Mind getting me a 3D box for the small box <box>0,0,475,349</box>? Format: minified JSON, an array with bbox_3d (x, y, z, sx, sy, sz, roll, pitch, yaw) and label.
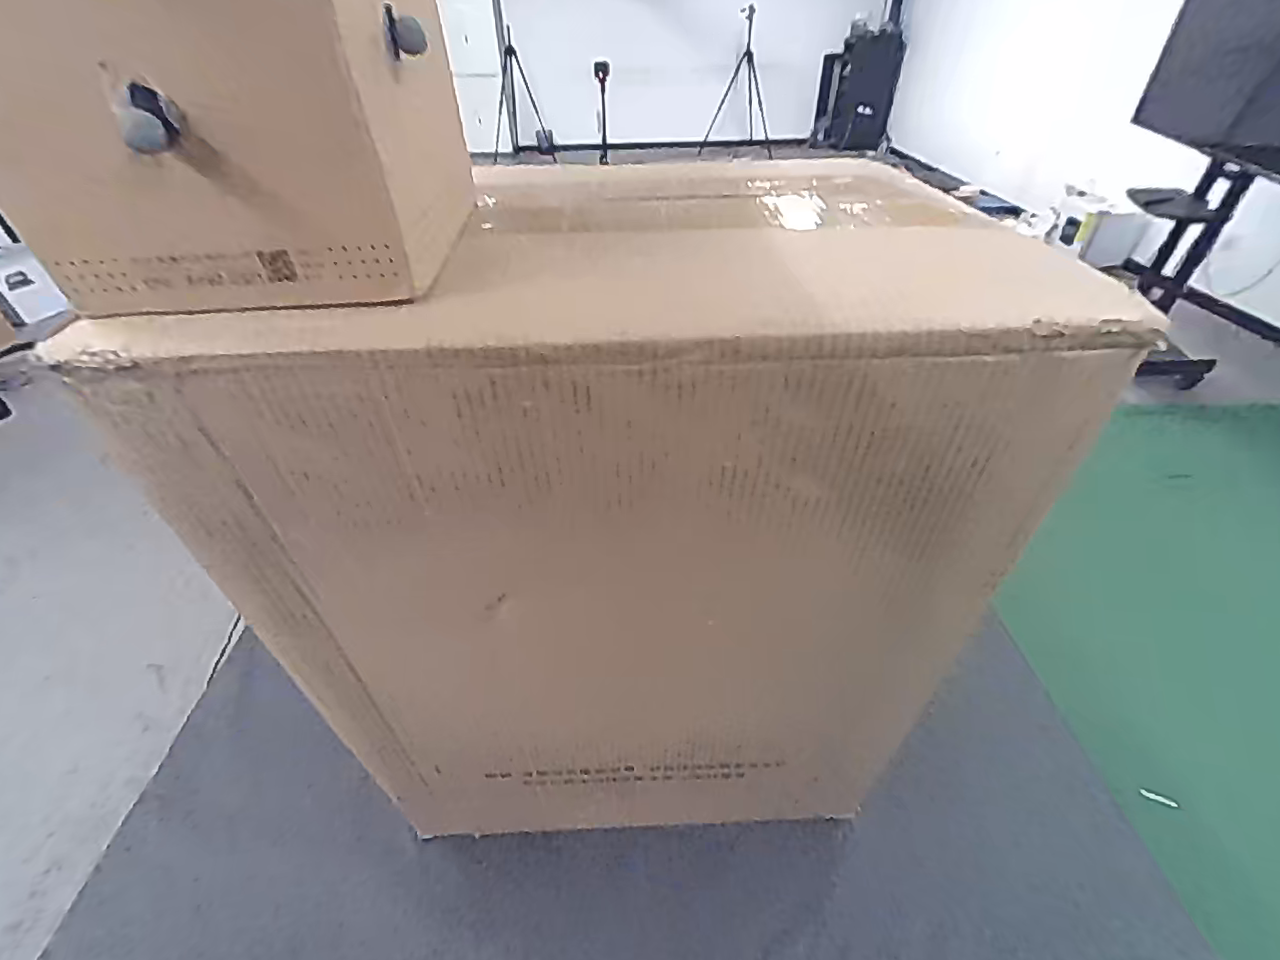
[{"bbox_3d":[-0.199,-0.182,0.295,0.168,0.176,0.179,-6,42,-3],"label":"small box"}]
